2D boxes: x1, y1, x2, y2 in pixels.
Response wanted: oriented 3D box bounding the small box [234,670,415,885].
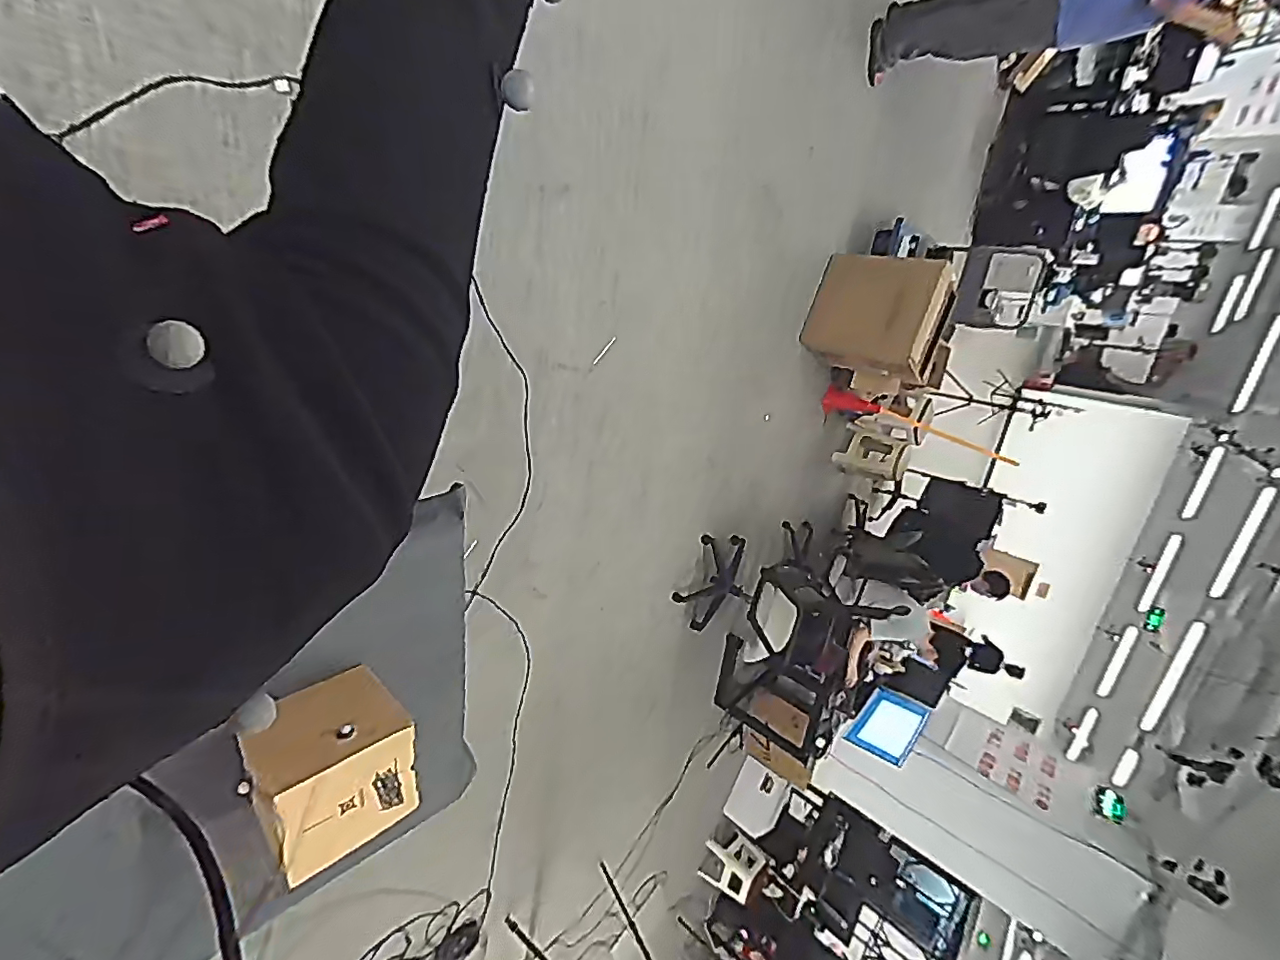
[{"bbox_3d":[-0.450,0.410,0.781,0.179,0.176,0.168,-16,119,-45],"label":"small box"}]
